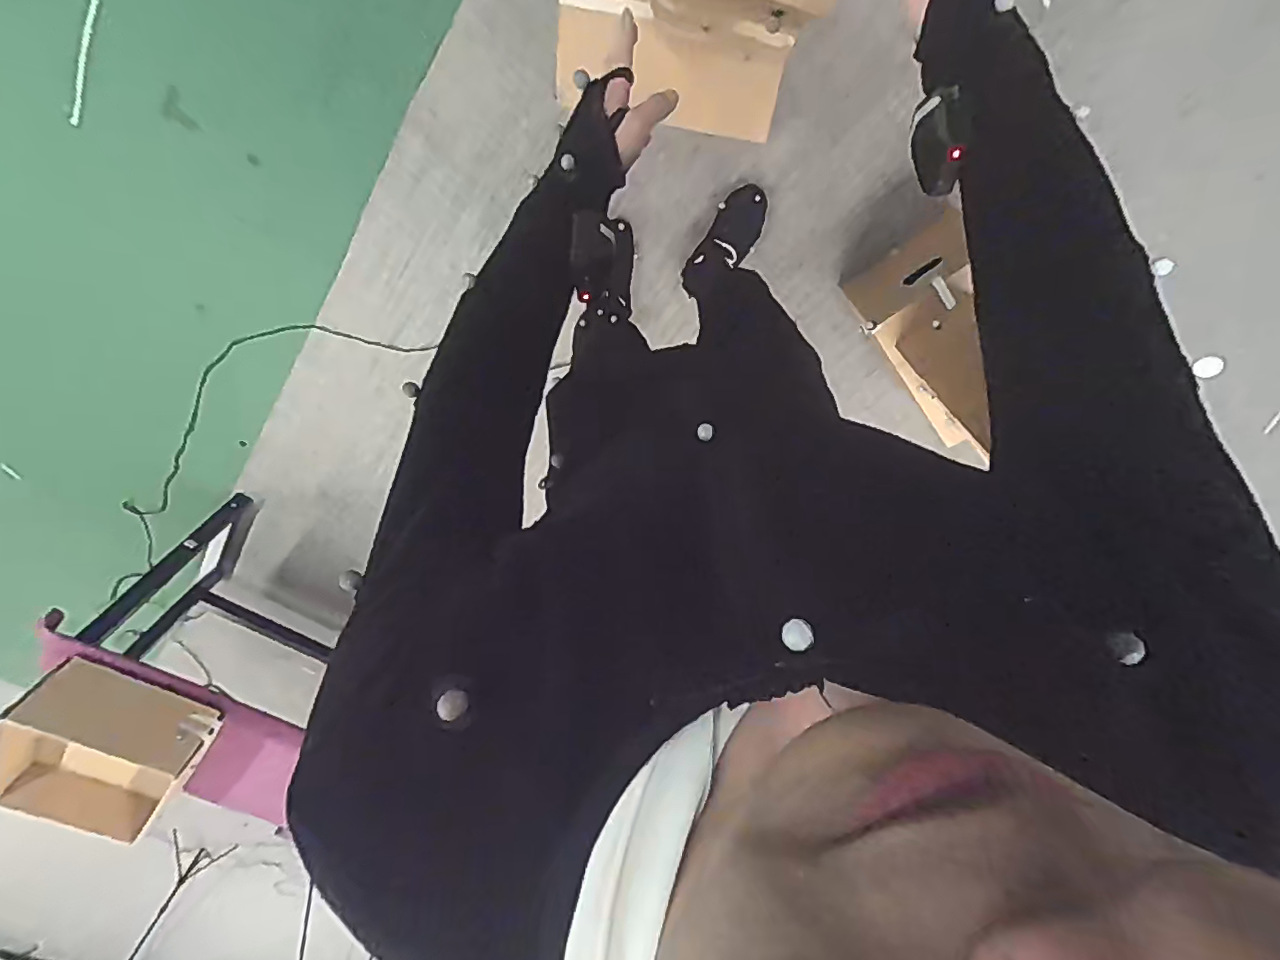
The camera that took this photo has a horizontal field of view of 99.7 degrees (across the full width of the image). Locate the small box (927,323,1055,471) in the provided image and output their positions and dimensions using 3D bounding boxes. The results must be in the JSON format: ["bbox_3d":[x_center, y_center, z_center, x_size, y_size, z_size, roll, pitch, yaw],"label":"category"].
[{"bbox_3d":[0.662,-0.156,0.999,0.179,0.176,0.168,-37,114,26],"label":"small box"}]

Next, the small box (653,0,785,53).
[{"bbox_3d":[0.117,-0.666,0.681,0.179,0.176,0.168,14,125,-6],"label":"small box"}]

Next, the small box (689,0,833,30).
[{"bbox_3d":[0.123,-0.580,0.540,0.179,0.176,0.168,14,124,-6],"label":"small box"}]

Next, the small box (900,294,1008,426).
[{"bbox_3d":[0.672,-0.252,1.130,0.179,0.176,0.168,-36,115,27],"label":"small box"}]

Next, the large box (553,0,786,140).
[{"bbox_3d":[0.067,-0.871,1.043,0.408,0.320,0.320,10,124,-1],"label":"large box"}]
